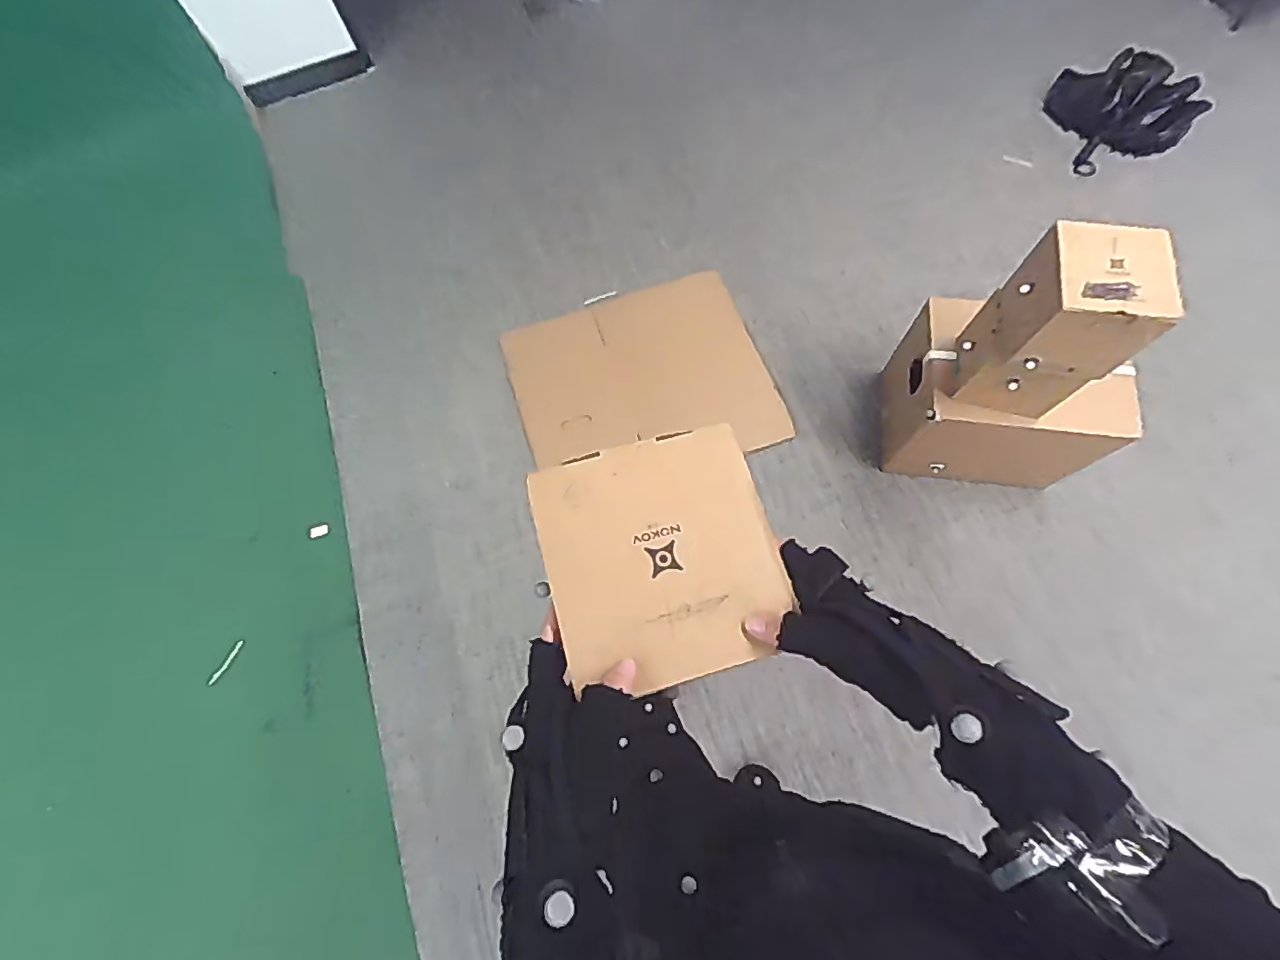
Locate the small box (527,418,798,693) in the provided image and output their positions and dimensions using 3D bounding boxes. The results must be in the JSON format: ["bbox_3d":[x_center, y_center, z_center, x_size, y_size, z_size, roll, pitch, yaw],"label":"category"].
[{"bbox_3d":[0.010,0.073,0.476,0.168,0.176,0.179,-16,74,-6],"label":"small box"}]

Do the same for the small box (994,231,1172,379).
[{"bbox_3d":[0.729,-0.287,0.912,0.168,0.176,0.179,6,72,7],"label":"small box"}]

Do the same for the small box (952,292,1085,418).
[{"bbox_3d":[0.746,-0.241,1.072,0.179,0.176,0.168,12,69,8],"label":"small box"}]
